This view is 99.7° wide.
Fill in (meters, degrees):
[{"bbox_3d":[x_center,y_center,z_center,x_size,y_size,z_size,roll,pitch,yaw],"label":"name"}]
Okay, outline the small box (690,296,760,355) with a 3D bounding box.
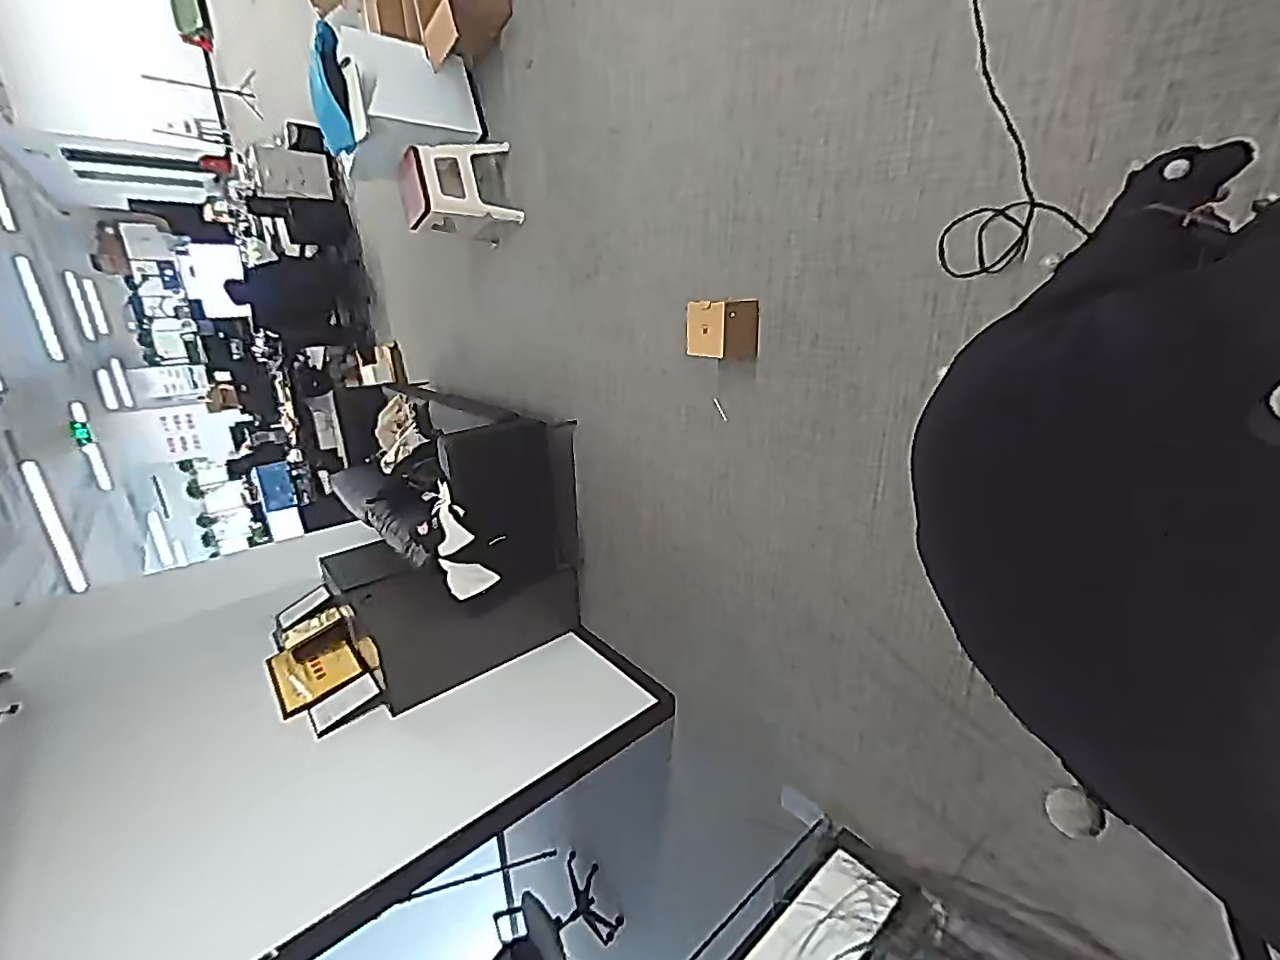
[{"bbox_3d":[0.285,-0.520,1.809,0.168,0.176,0.179,21,119,46],"label":"small box"}]
